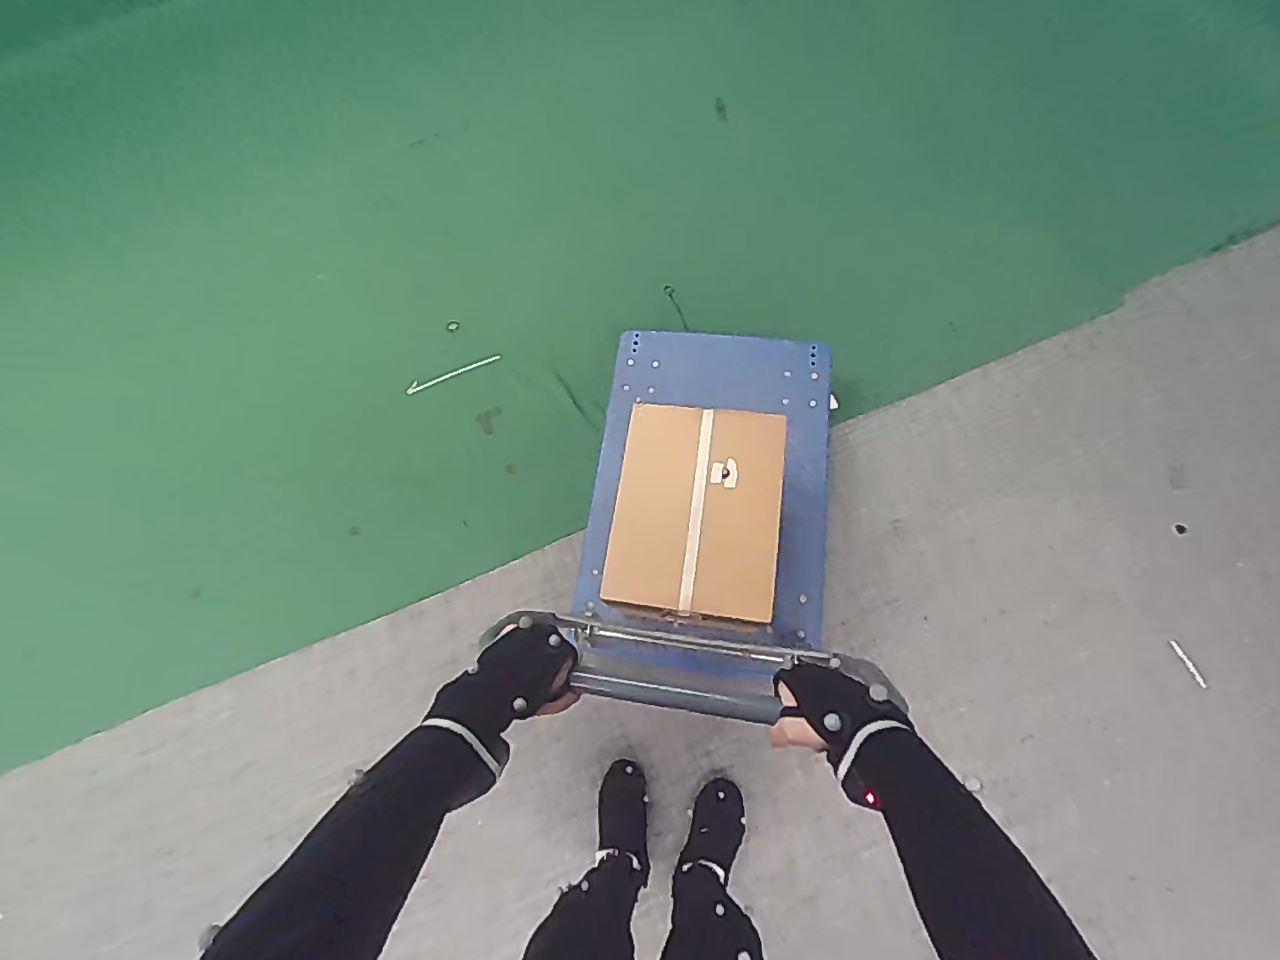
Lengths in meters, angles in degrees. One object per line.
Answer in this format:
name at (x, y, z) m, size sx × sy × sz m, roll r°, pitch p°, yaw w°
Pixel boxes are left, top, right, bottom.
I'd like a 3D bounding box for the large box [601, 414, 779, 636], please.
large box at (0.121, 0.111, 1.187) m, size 0.320 × 0.320 × 0.408 m, roll 6°, pitch 71°, yaw 9°
